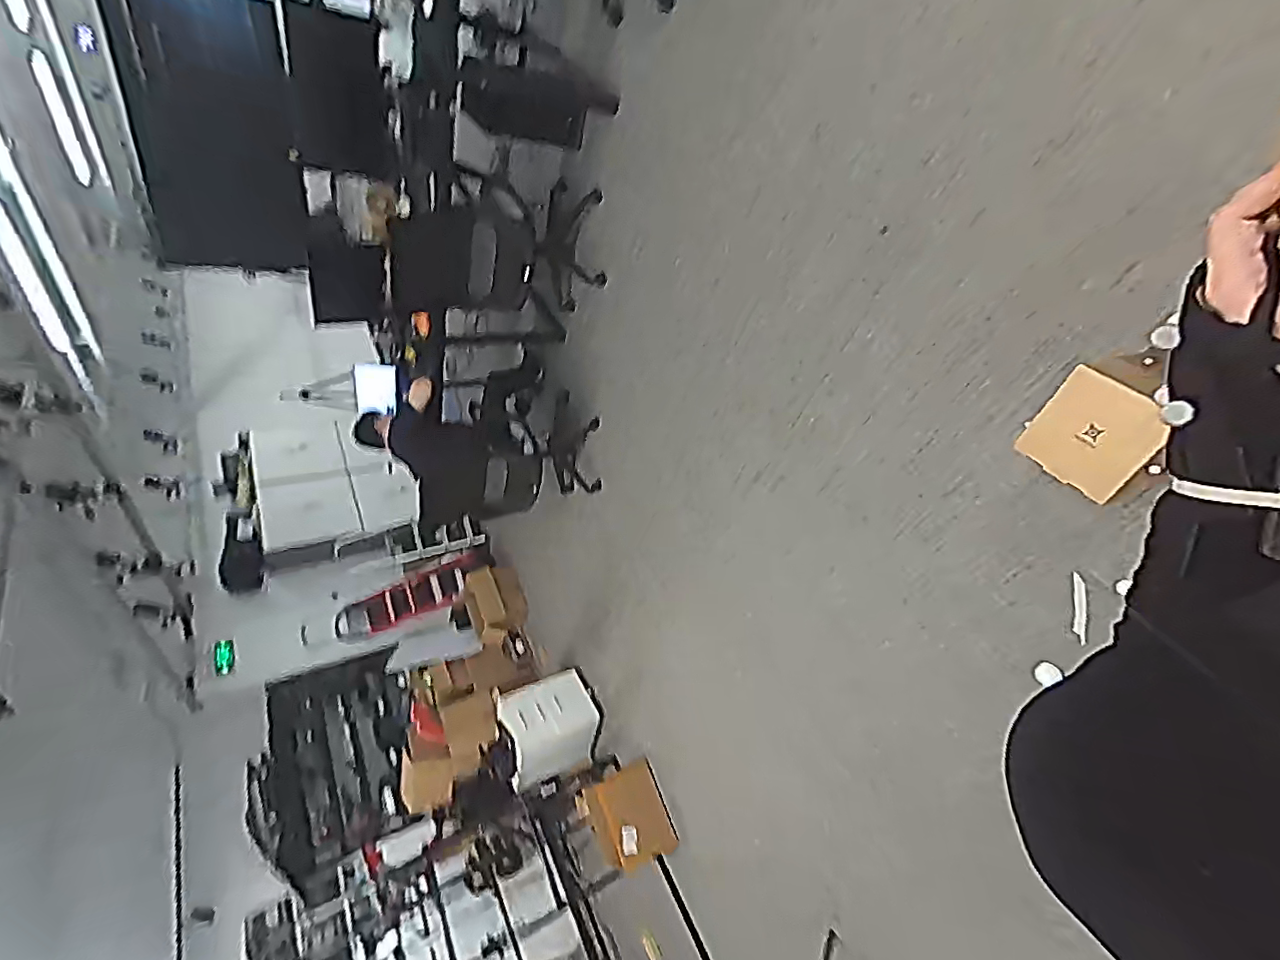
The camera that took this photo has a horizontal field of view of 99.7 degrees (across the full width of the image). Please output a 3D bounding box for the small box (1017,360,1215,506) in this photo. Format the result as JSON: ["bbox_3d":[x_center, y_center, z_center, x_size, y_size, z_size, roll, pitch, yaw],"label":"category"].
[{"bbox_3d":[0.798,-0.088,0.908,0.168,0.176,0.179,51,141,37],"label":"small box"}]

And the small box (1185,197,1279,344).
[{"bbox_3d":[1.001,-0.306,0.809,0.179,0.176,0.168,53,142,34],"label":"small box"}]
